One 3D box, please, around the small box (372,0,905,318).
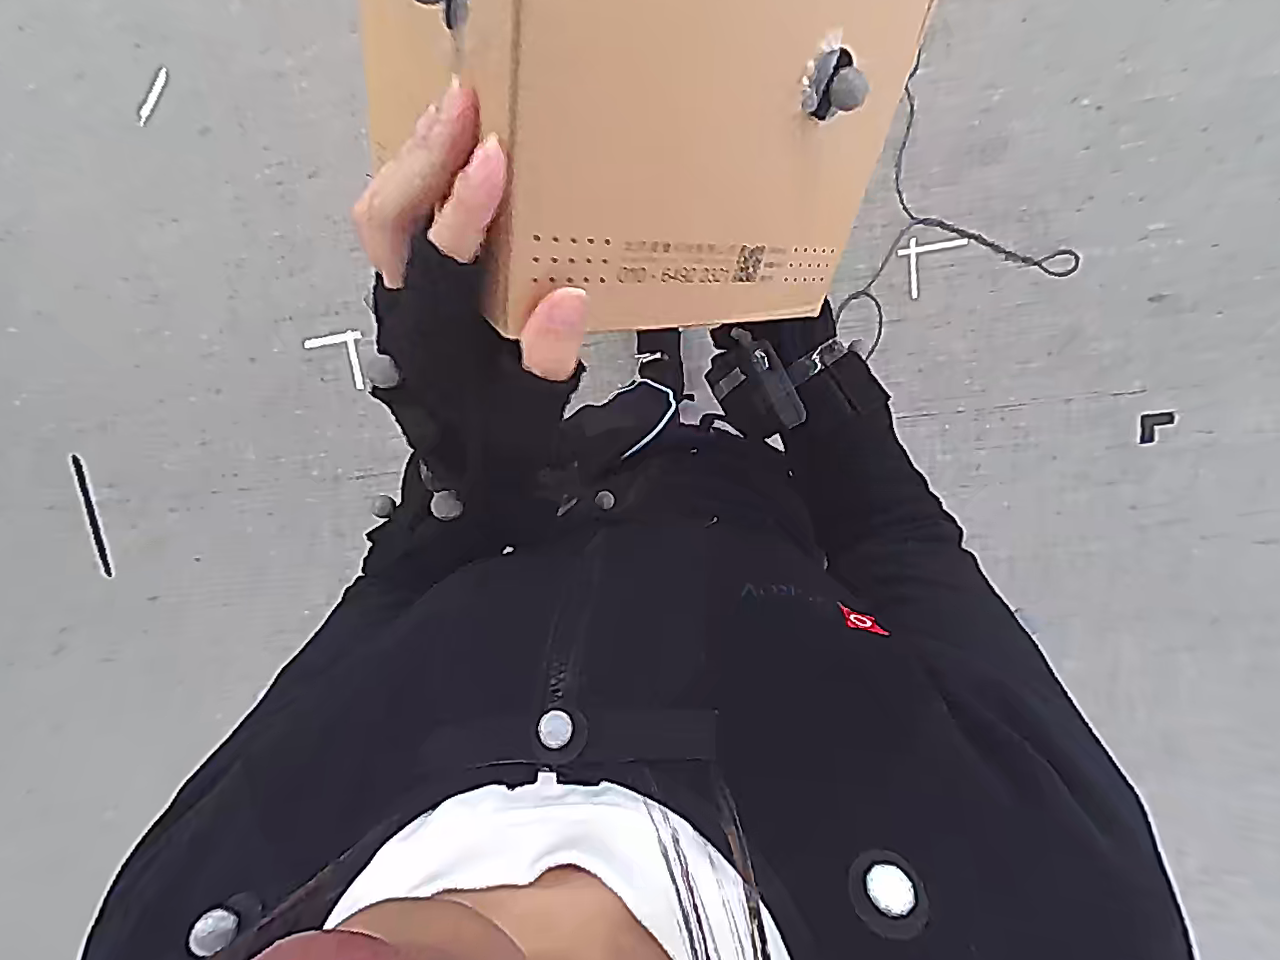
[{"bbox_3d":[-0.010,-0.178,0.235,0.179,0.168,0.176,48,138,39],"label":"small box"}]
